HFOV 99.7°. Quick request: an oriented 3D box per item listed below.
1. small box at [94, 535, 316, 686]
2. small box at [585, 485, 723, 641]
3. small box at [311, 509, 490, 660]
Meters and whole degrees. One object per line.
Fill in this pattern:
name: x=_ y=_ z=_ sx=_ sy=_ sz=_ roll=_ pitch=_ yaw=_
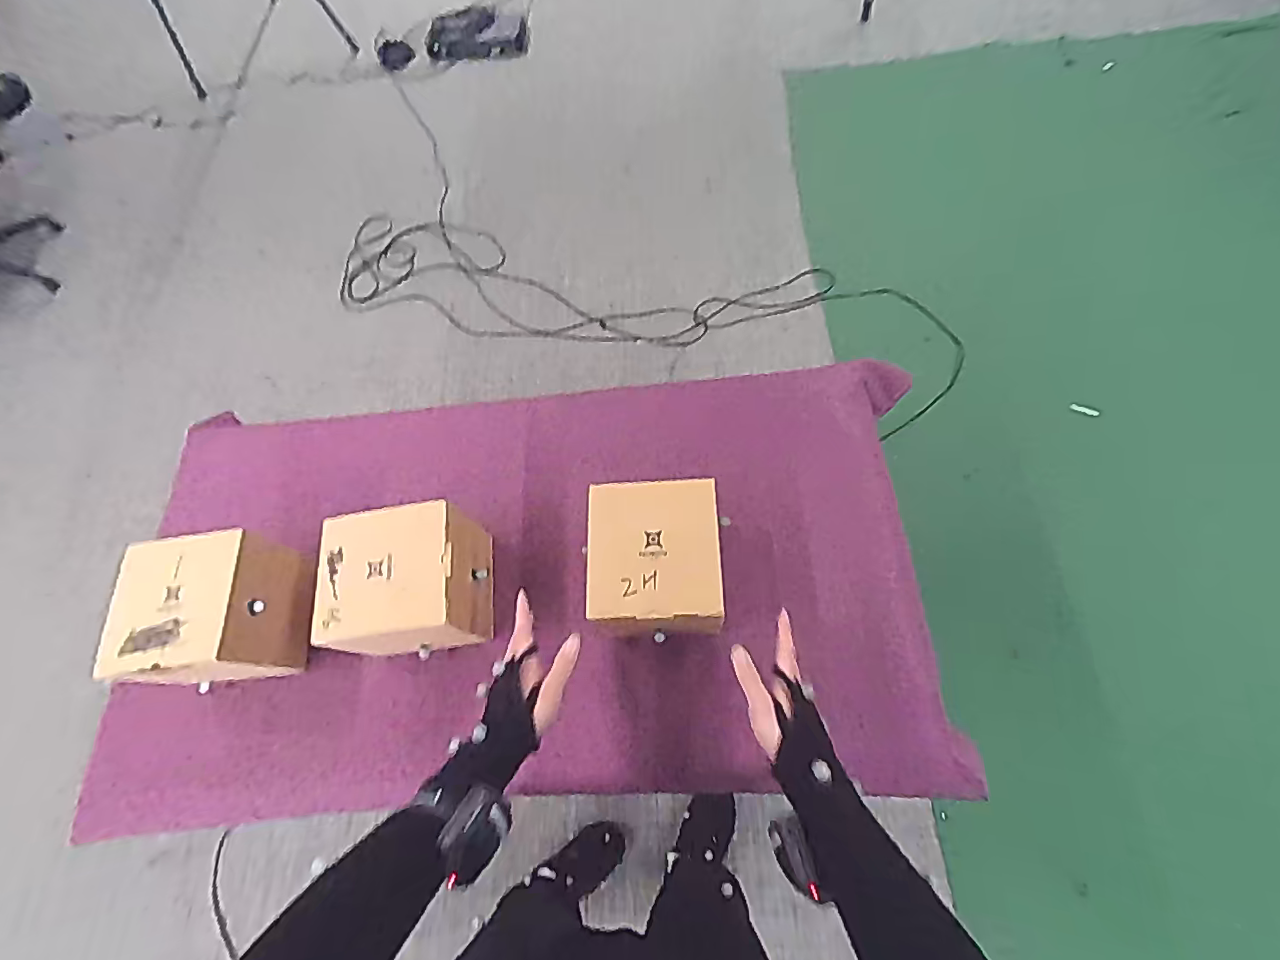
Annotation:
small box: x=-0.600 y=0.195 z=0.775 sx=0.168 sy=0.176 sz=0.179 roll=-8 pitch=65 yaw=2
small box: x=0.024 y=0.120 z=0.743 sx=0.168 sy=0.176 sz=0.179 roll=-3 pitch=66 yaw=6
small box: x=-0.320 y=0.154 z=0.765 sx=0.179 sy=0.176 sz=0.168 roll=-8 pitch=66 yaw=2
